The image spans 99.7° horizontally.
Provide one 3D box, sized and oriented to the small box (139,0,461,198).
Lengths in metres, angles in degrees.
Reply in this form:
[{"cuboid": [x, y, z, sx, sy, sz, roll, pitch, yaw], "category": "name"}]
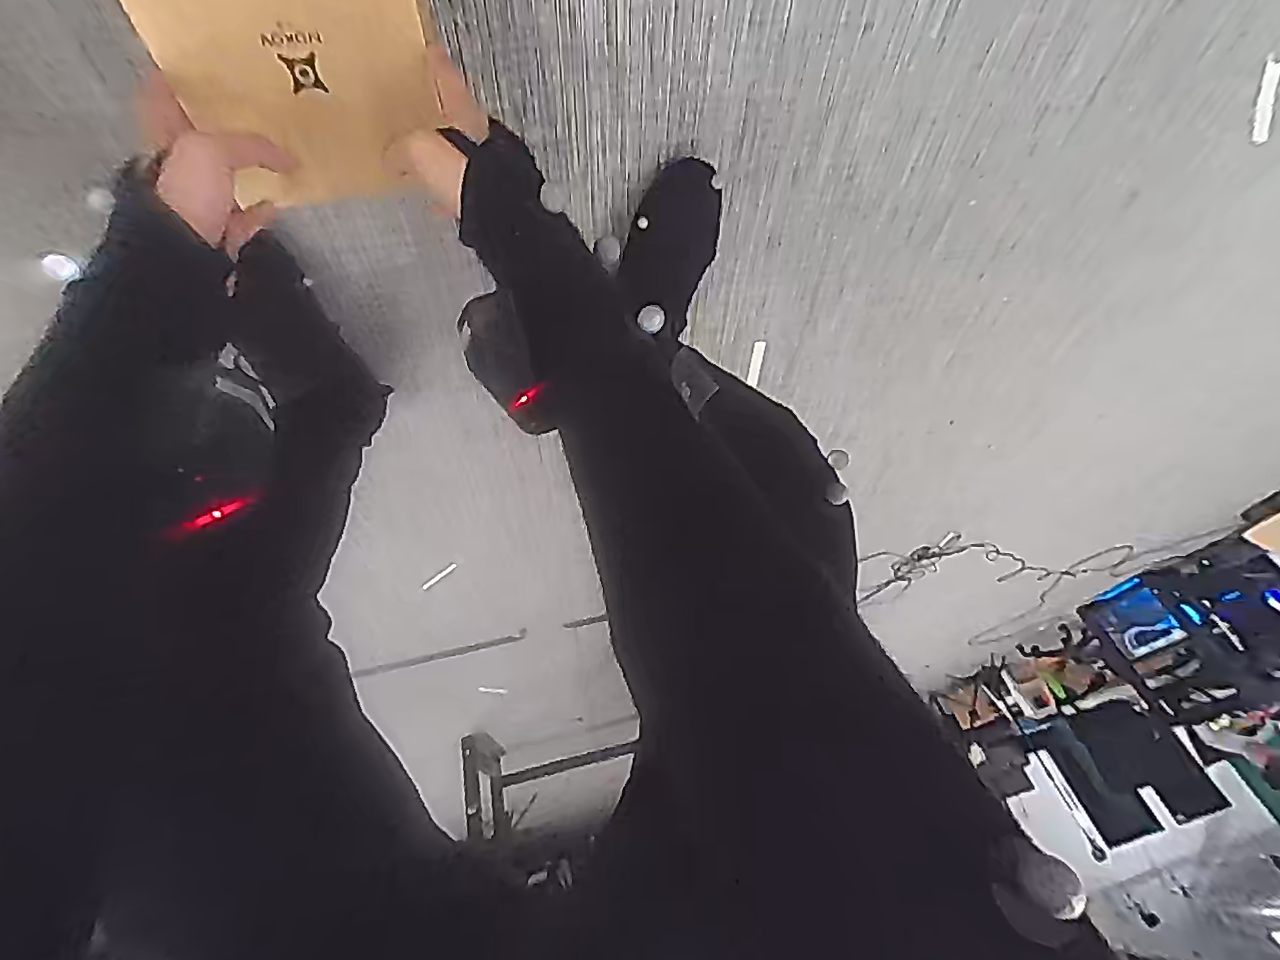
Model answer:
[{"cuboid": [-0.239, -0.345, 0.405, 0.168, 0.176, 0.179, -11, 144, -9], "category": "small box"}]
